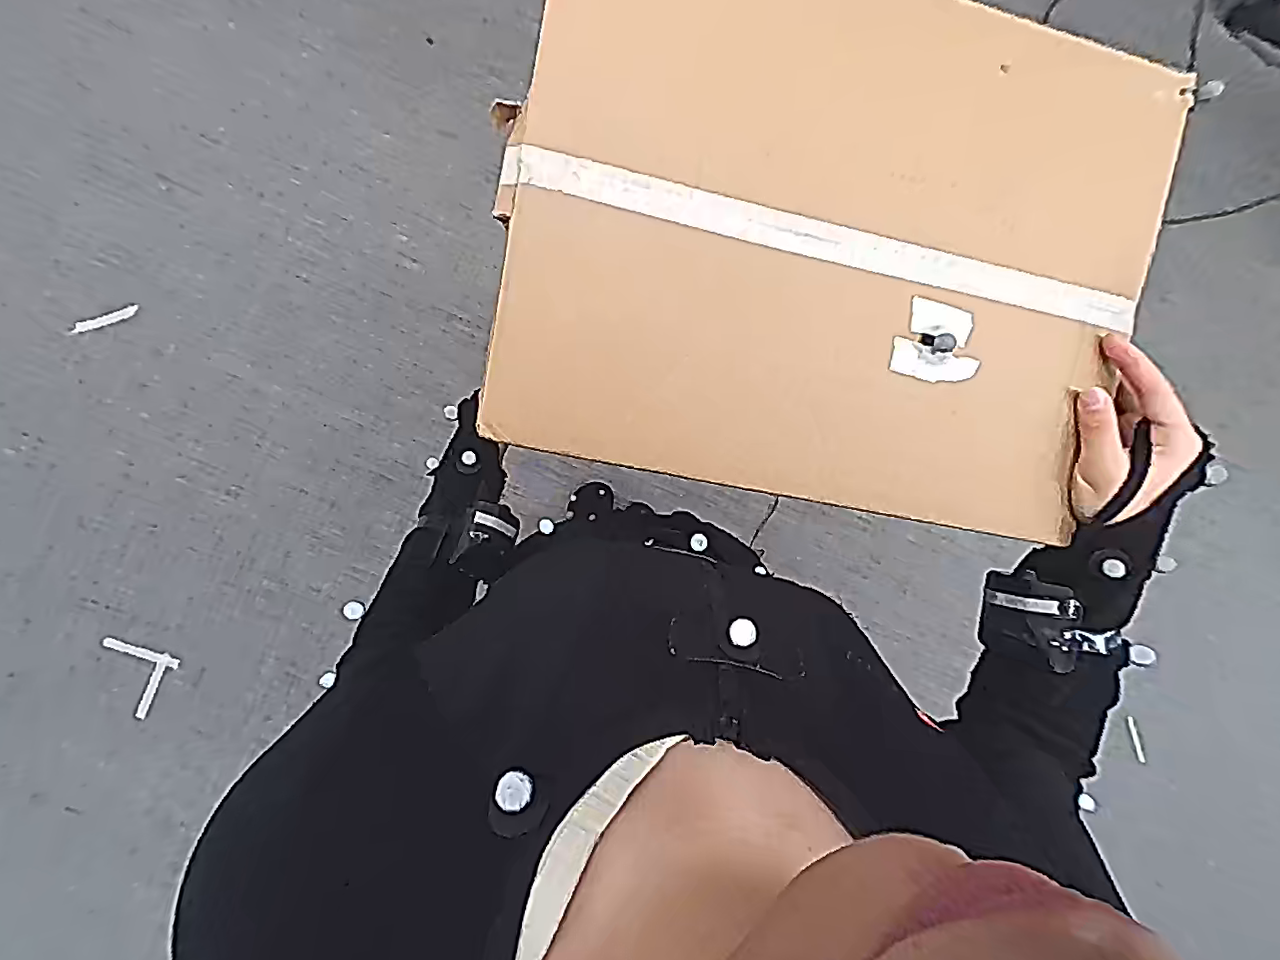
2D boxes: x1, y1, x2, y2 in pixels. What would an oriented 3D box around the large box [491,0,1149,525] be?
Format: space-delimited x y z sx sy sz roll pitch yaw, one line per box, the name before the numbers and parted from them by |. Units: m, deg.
large box | 0.103 -0.161 0.491 0.408 0.320 0.320 9 96 -9
